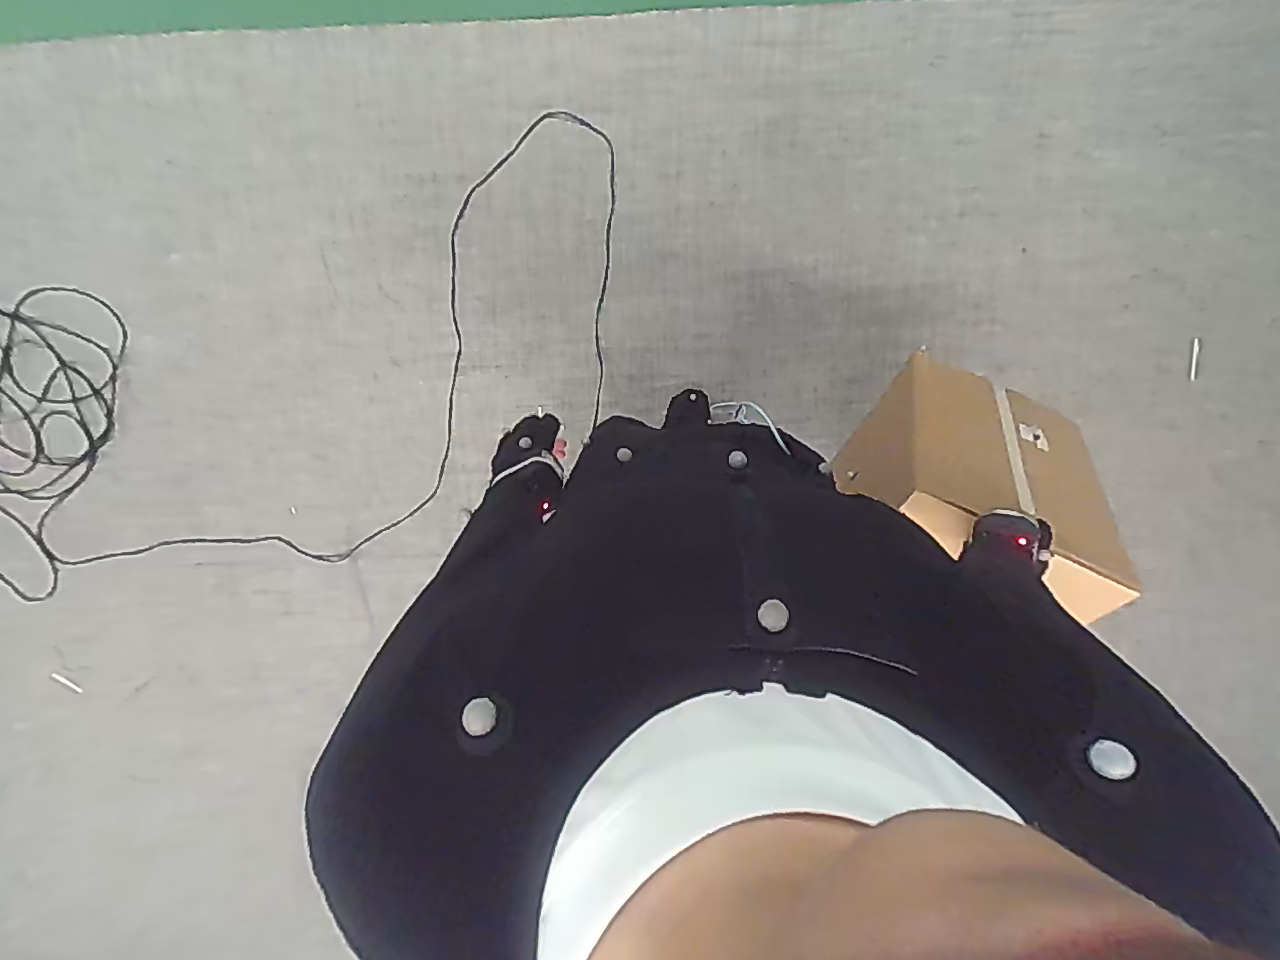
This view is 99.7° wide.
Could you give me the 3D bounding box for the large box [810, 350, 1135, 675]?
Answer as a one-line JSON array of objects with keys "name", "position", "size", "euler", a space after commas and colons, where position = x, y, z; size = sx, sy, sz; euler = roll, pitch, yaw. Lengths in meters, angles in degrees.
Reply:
[{"name": "large box", "position": [0.523, 0.049, 0.941], "size": [0.320, 0.408, 0.320], "euler": [26, 135, 3]}]
